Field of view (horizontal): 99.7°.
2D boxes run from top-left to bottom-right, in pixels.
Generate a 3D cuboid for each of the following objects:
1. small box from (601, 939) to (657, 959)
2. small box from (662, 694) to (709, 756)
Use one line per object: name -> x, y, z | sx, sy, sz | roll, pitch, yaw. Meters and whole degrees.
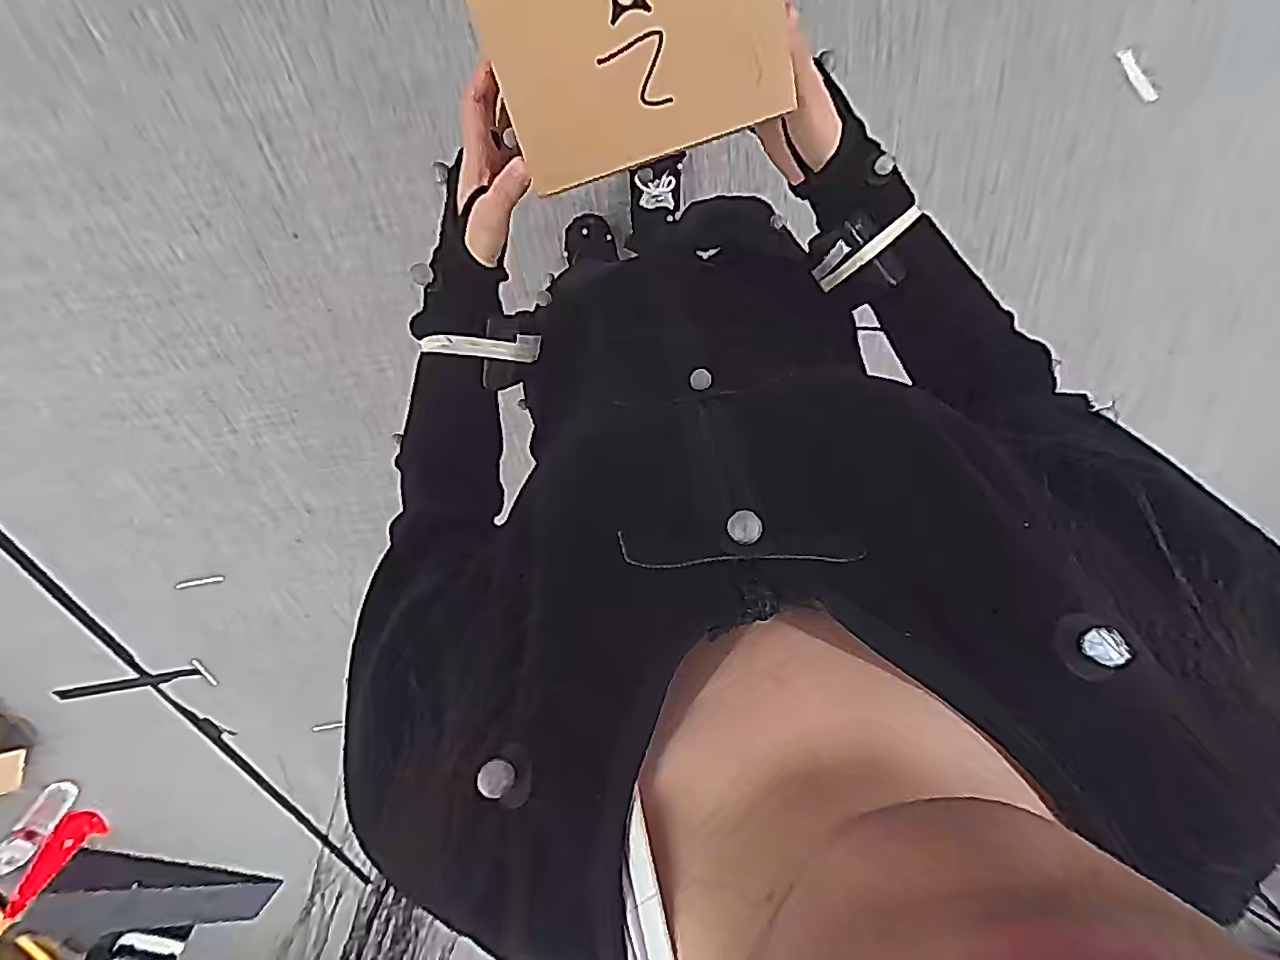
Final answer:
small box -> -0.030, 1.611, 1.728 | 0.179, 0.176, 0.168 | -10, 124, -1
small box -> 0.186, 1.007, 2.237 | 0.168, 0.176, 0.179 | -9, 124, 0
